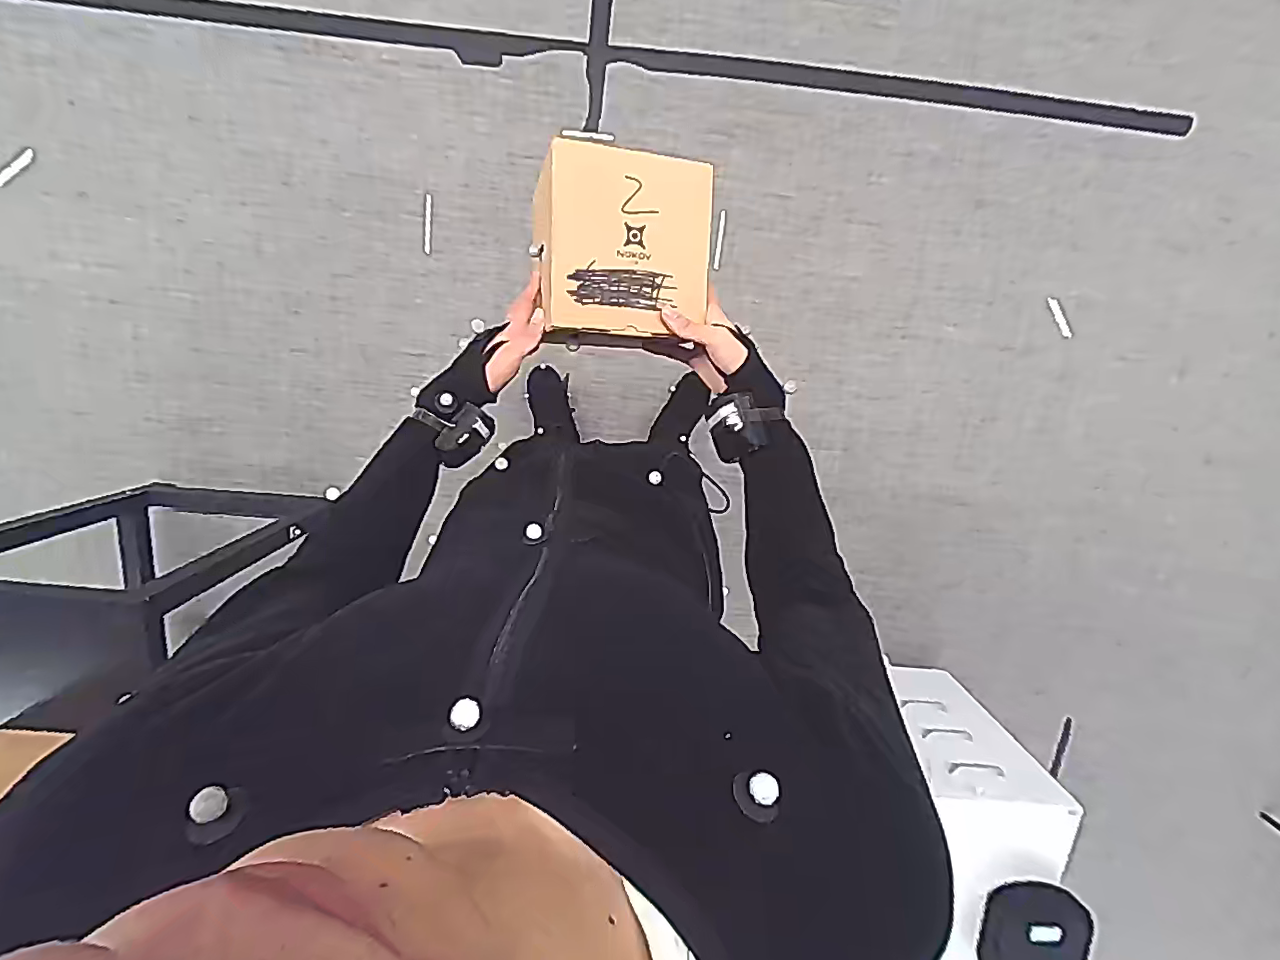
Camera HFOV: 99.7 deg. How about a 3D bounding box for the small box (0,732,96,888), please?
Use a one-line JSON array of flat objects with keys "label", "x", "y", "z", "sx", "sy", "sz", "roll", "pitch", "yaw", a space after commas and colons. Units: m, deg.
[{"label": "small box", "x": -1.103, "y": 0.558, "z": 0.924, "sx": 0.179, "sy": 0.176, "sz": 0.168, "roll": 5, "pitch": 103, "yaw": -2}]
